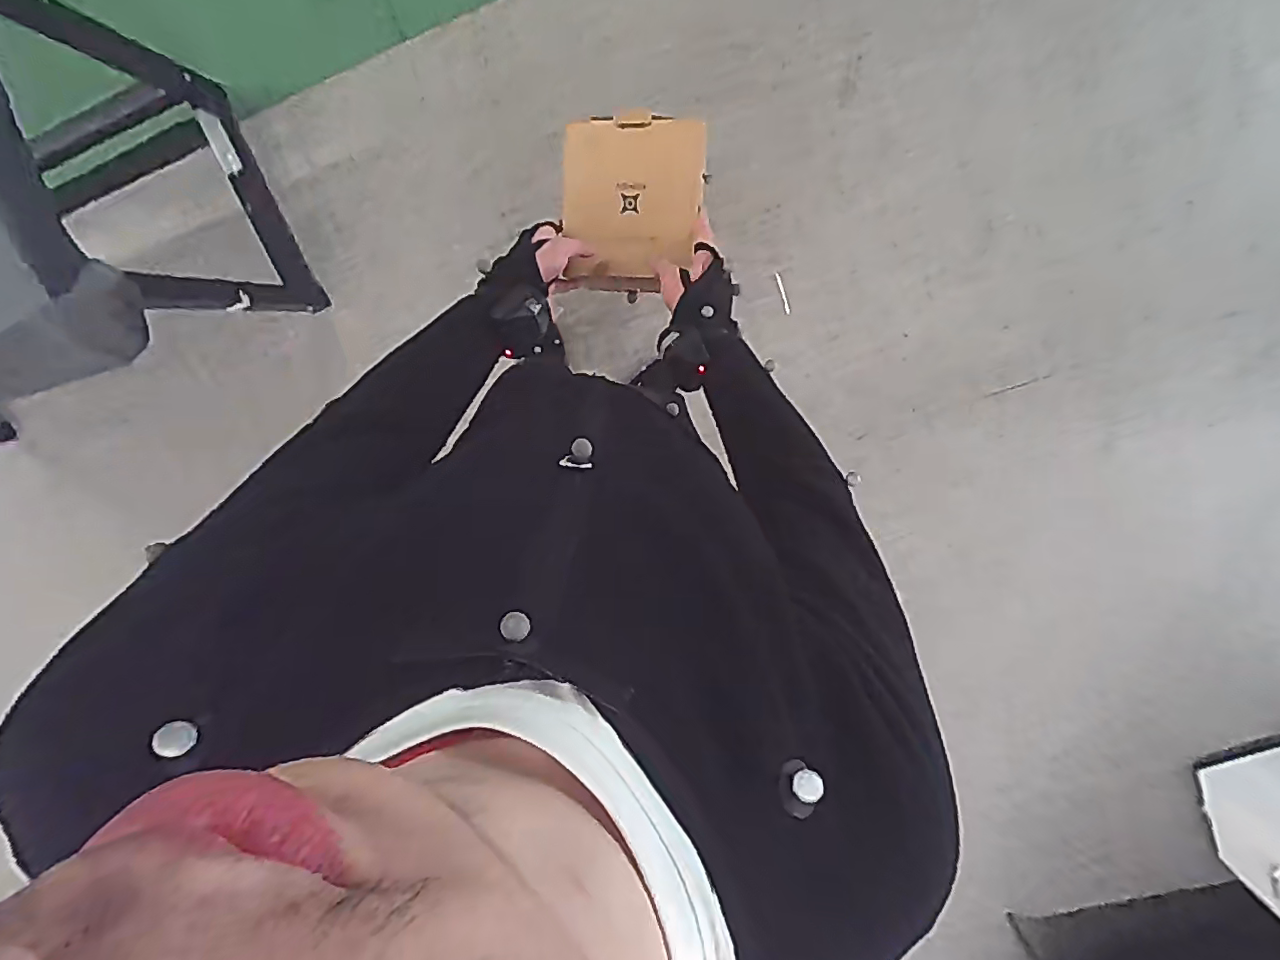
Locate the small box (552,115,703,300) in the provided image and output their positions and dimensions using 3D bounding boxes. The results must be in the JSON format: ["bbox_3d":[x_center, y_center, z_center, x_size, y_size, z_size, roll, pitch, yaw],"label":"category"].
[{"bbox_3d":[-0.009,-0.339,0.702,0.168,0.176,0.179,6,104,7],"label":"small box"}]
